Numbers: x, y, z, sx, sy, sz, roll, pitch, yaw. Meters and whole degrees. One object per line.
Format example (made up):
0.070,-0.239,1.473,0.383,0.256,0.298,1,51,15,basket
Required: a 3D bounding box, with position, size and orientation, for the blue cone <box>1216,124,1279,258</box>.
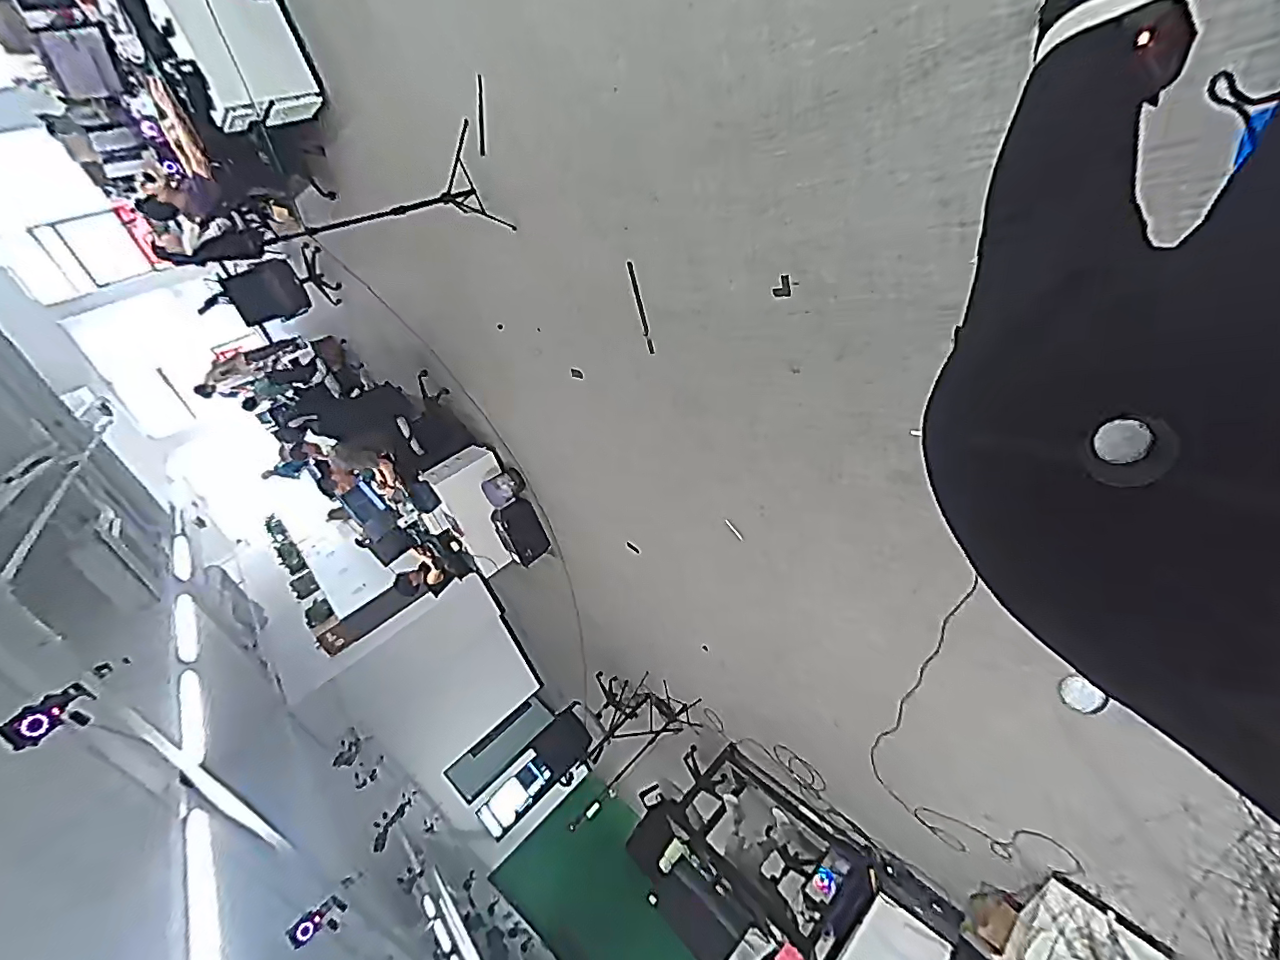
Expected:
0.970,-0.402,0.808,0.193,0.380,0.192,18,136,48,blue cone
